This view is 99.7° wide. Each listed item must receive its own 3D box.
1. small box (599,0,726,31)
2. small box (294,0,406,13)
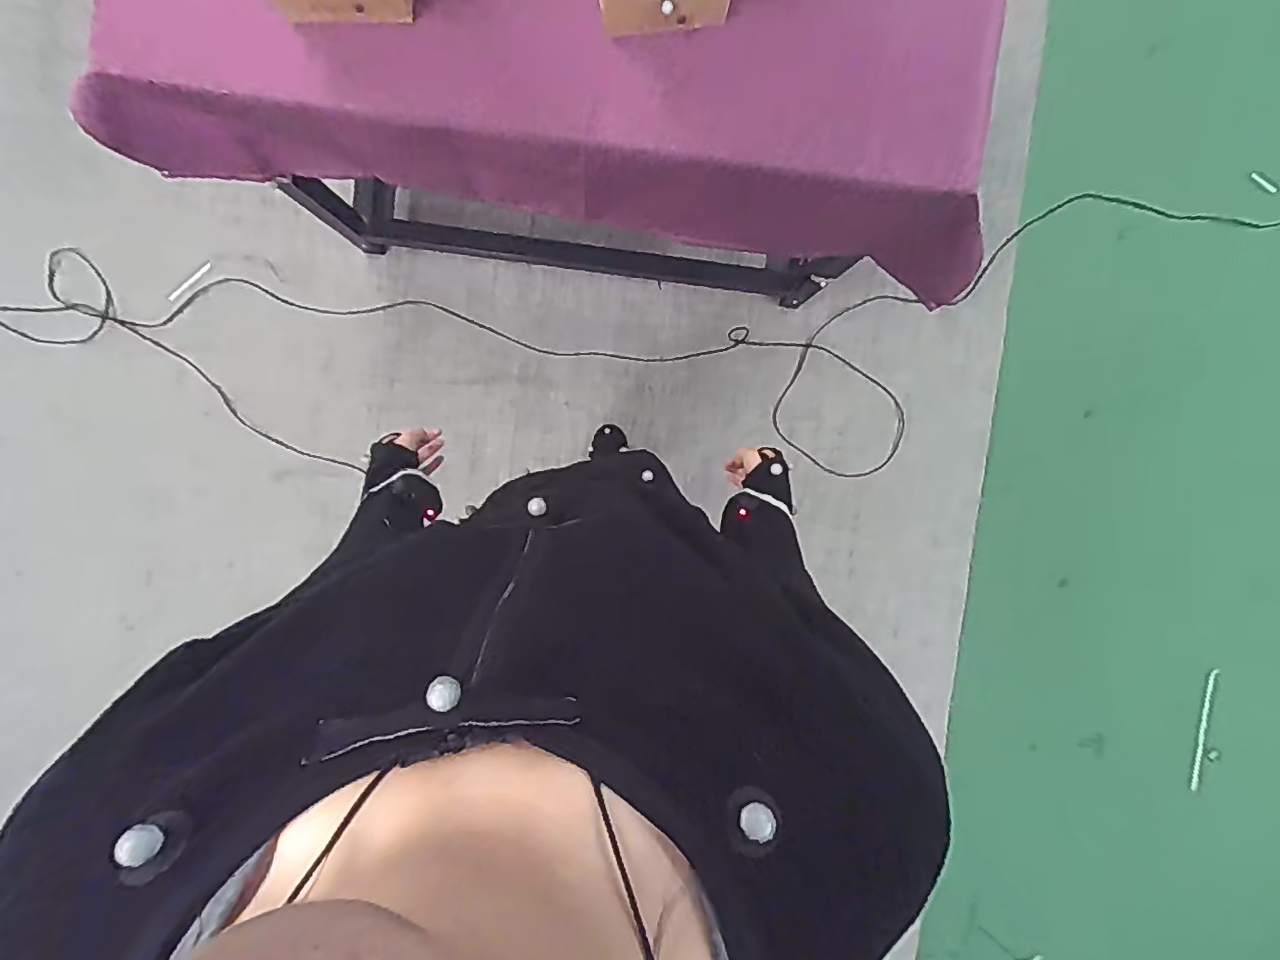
[{"bbox_3d":[0.025,-0.688,0.641,0.168,0.176,0.179,-6,94,-2],"label":"small box"},{"bbox_3d":[-0.380,-0.693,0.624,0.168,0.176,0.179,0,93,-4],"label":"small box"}]
